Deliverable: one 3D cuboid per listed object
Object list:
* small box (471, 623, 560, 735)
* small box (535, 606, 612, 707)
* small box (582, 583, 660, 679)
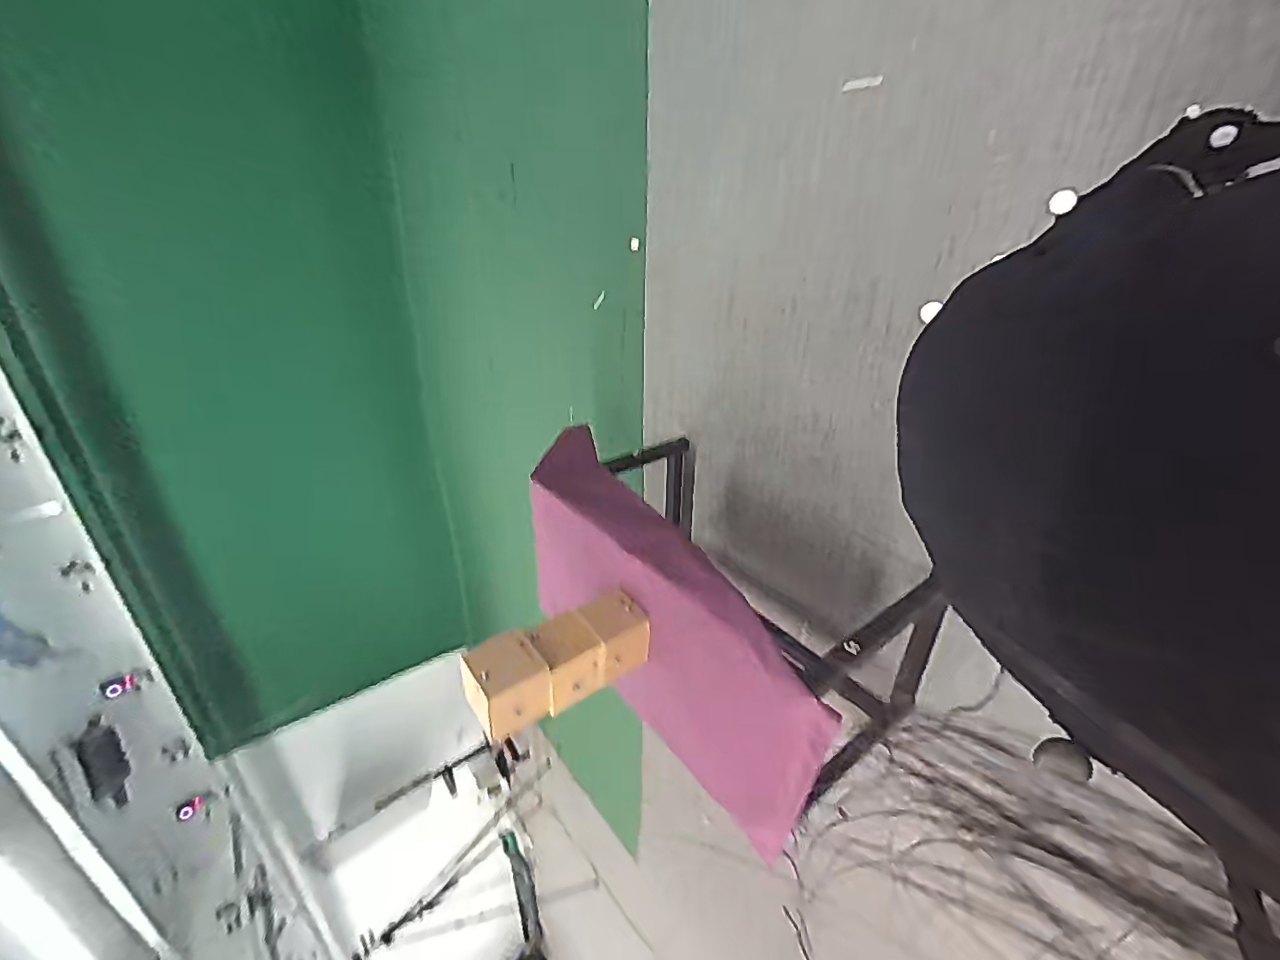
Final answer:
[{"bbox_3d":[-0.317,0.510,1.404,0.168,0.176,0.179,36,136,39],"label":"small box"},{"bbox_3d":[-0.189,0.482,1.504,0.179,0.176,0.168,34,133,42],"label":"small box"},{"bbox_3d":[-0.057,0.436,1.587,0.168,0.176,0.179,35,133,40],"label":"small box"}]
